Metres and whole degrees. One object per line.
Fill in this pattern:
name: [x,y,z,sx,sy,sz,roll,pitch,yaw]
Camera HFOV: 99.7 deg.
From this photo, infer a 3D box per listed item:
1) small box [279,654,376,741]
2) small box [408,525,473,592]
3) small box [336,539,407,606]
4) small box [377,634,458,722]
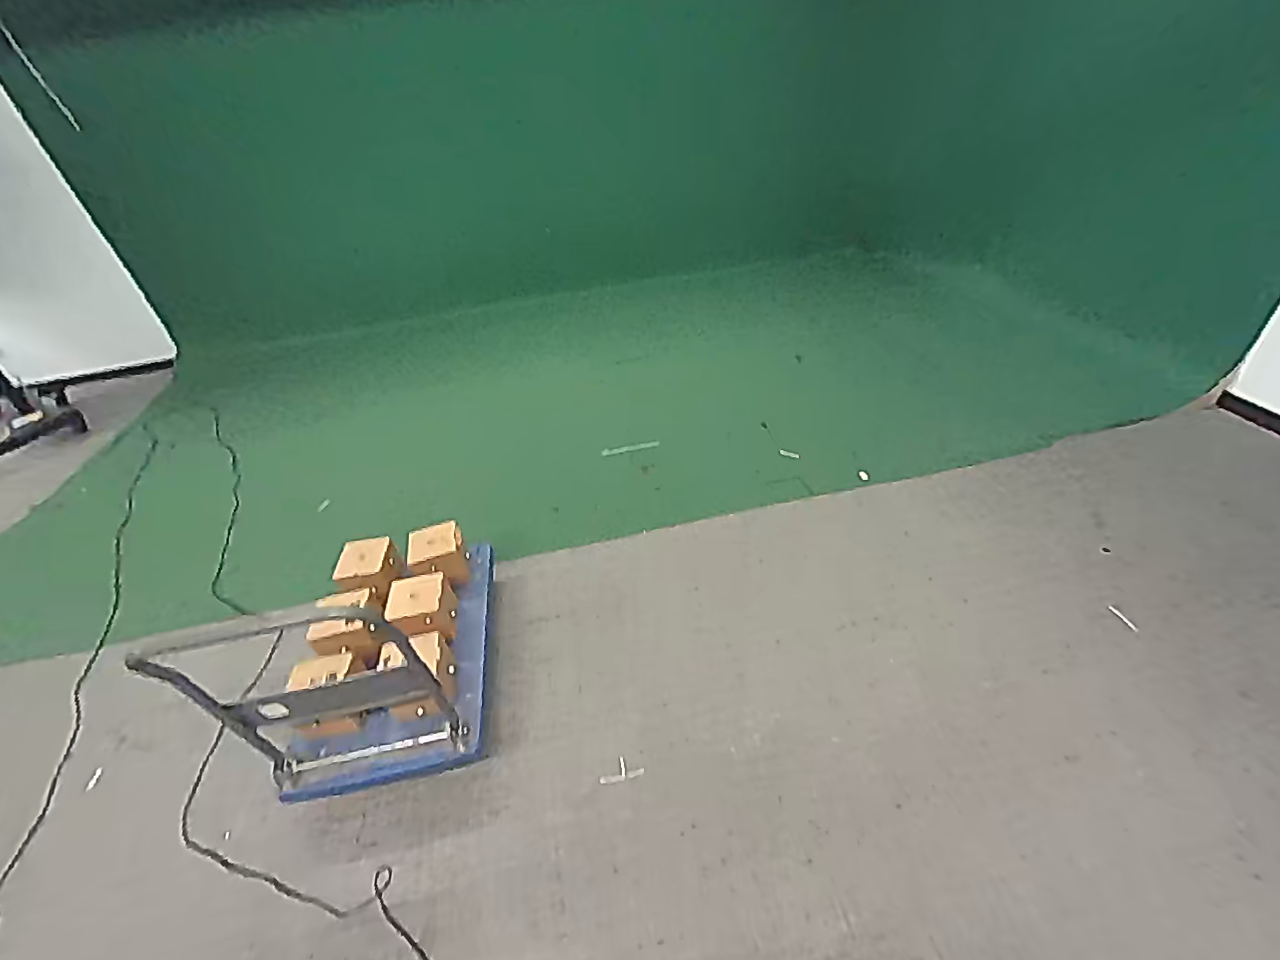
small box: [-0.920,0.651,1.614,0.179,0.176,0.168,-10,38,-2]
small box: [-0.739,0.297,2.019,0.179,0.176,0.168,-10,41,-4]
small box: [-0.986,0.349,2.003,0.168,0.176,0.179,-8,39,-2]
small box: [-0.662,0.599,1.633,0.179,0.176,0.168,-12,39,-6]
